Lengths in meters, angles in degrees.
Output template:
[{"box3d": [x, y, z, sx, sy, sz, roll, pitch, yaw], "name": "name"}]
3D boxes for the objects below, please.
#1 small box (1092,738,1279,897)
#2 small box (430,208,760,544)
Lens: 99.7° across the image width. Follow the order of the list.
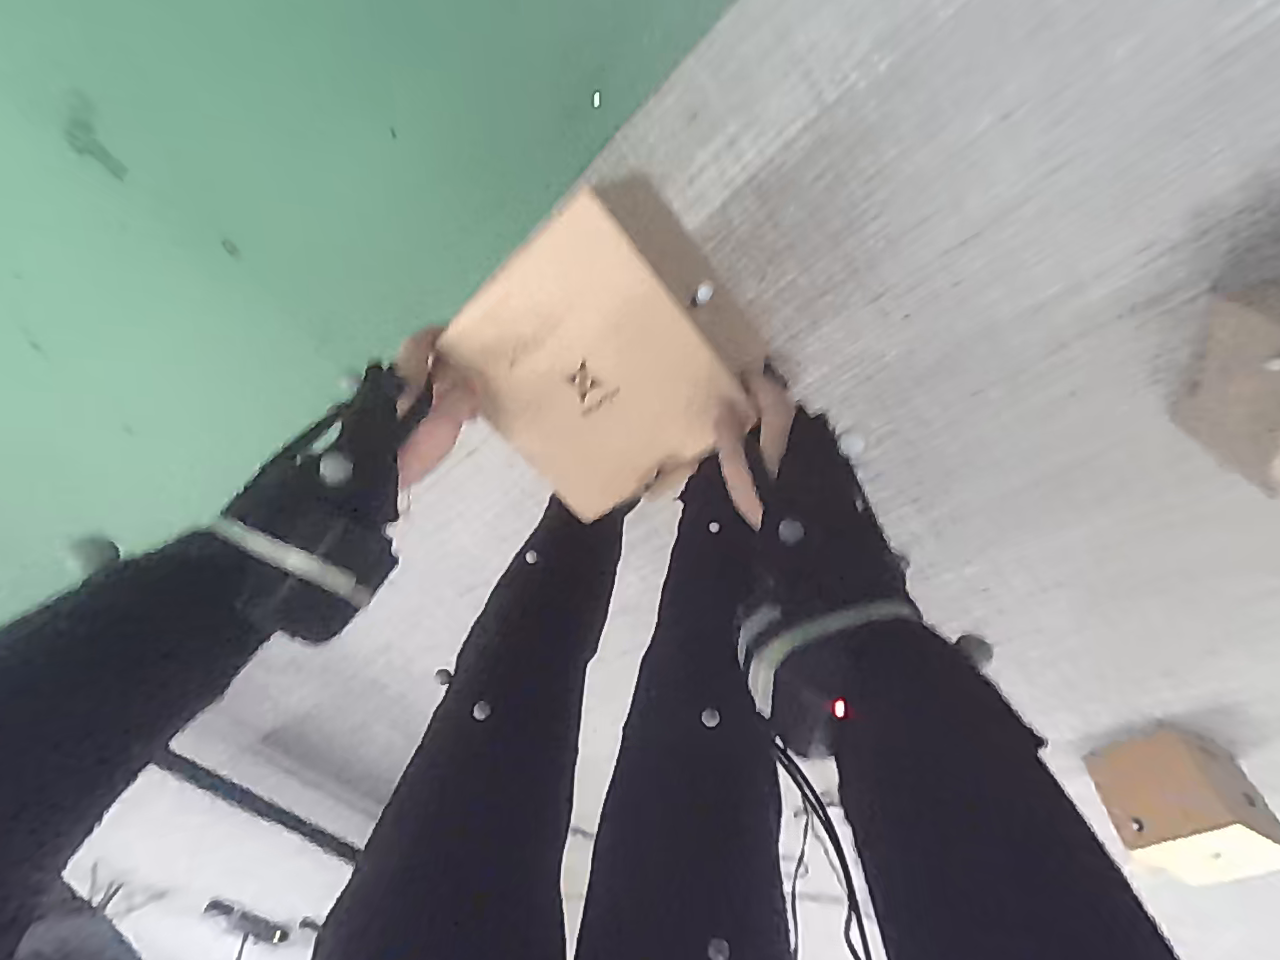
[{"box3d": [0.958, 0.582, 0.942, 0.168, 0.176, 0.179, 28, 126, -8], "name": "small box"}, {"box3d": [-0.018, -0.088, 0.432, 0.168, 0.176, 0.179, -33, 109, 27], "name": "small box"}]
